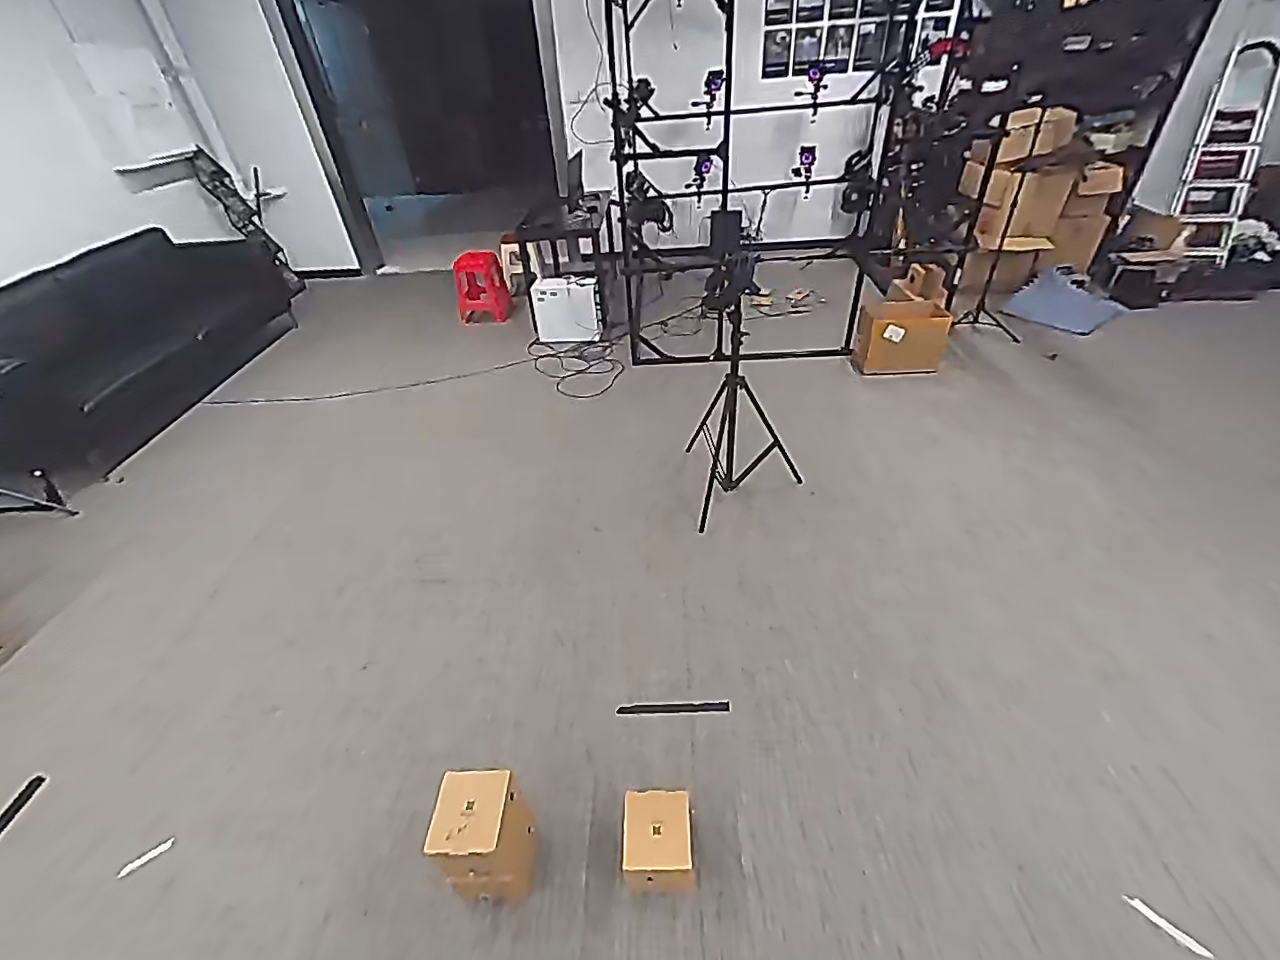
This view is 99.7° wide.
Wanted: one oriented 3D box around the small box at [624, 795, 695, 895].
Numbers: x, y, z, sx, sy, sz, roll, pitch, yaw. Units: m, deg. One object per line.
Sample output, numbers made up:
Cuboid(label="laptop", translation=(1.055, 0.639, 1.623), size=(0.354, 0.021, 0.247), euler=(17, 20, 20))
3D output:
Cuboid(label="small box", translation=(0.051, 0.926, 1.369), size=(0.168, 0.176, 0.179), euler=(-3, 38, 2))

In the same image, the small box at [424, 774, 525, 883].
Cuboid(label="small box", translation=(-0.380, 0.823, 1.279), size=(0.168, 0.176, 0.179), euler=(-4, 39, 4))

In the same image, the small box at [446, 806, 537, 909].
Cuboid(label="small box", translation=(-0.367, 0.957, 1.374), size=(0.168, 0.176, 0.179), euler=(-3, 38, 4))
